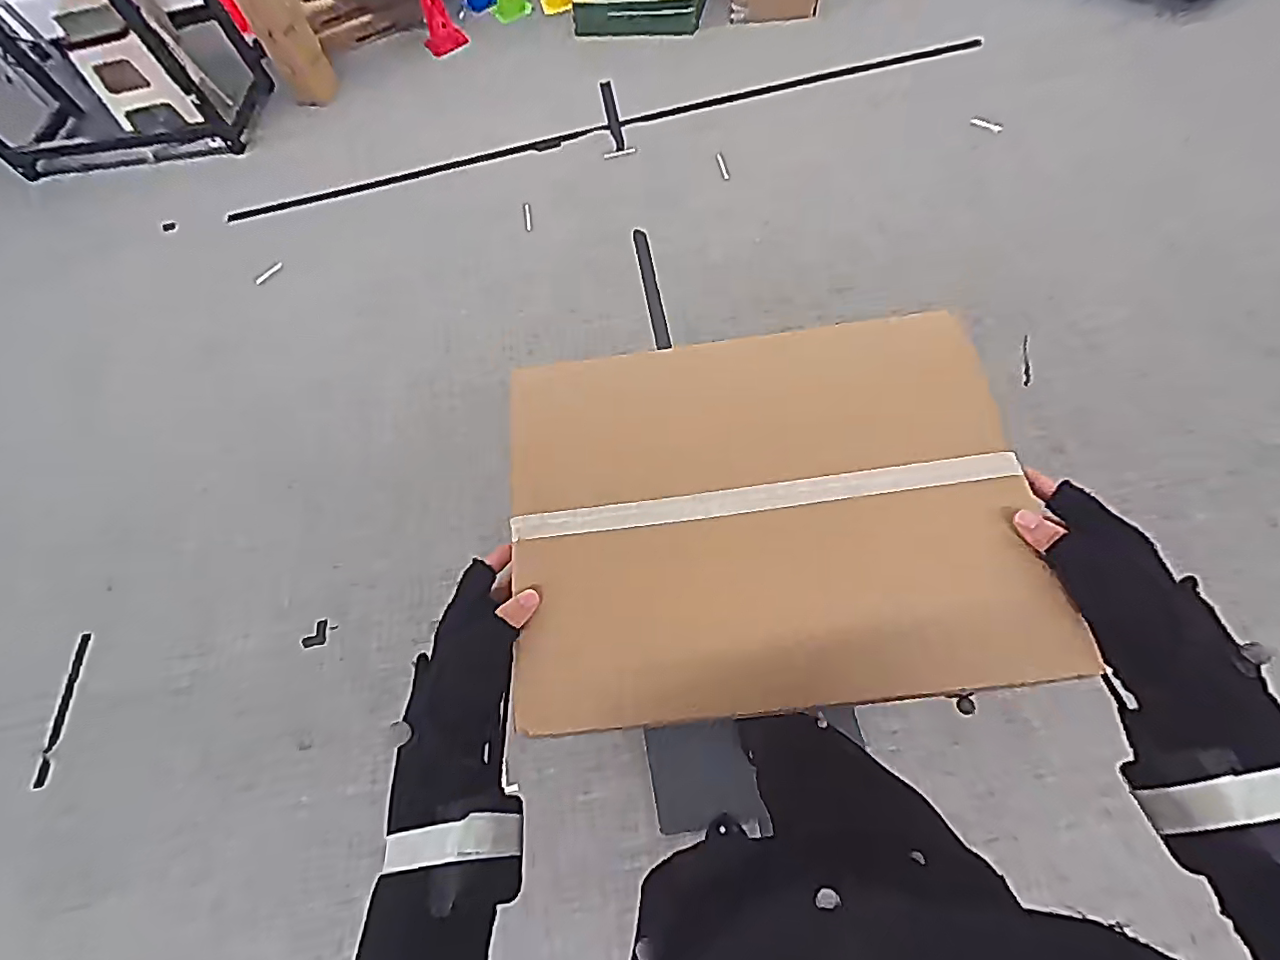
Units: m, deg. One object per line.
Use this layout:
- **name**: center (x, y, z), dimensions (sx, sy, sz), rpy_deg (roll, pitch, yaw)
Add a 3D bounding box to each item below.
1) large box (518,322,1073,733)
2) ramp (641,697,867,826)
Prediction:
- **large box**: center (0.111, 0.075, 0.583), dimensions (0.408, 0.320, 0.320), rpy_deg (-7, 66, 2)
- **ramp**: center (0.190, 0.269, 1.355), dimensions (0.509, 0.206, 0.991), rpy_deg (-12, 64, 0)
